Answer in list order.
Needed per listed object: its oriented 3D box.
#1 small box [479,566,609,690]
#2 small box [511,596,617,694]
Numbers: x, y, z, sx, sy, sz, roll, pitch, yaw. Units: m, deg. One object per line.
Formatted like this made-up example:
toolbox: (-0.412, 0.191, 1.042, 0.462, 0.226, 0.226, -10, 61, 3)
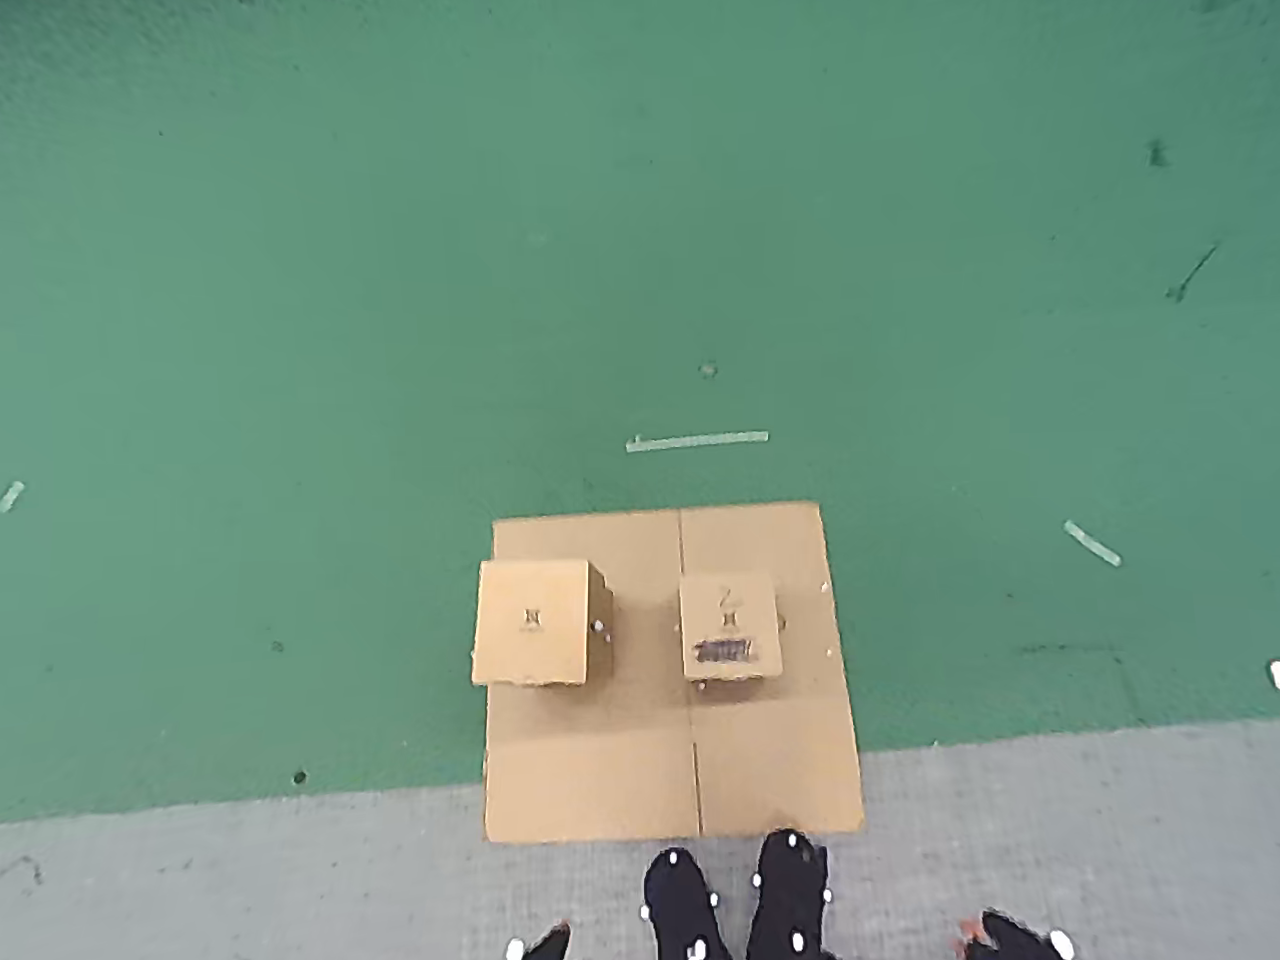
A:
small box: (-0.142, 0.239, 0.862, 0.168, 0.176, 0.179, -2, 72, 4)
small box: (-0.133, 0.302, 1.012, 0.168, 0.176, 0.179, -3, 71, 4)
